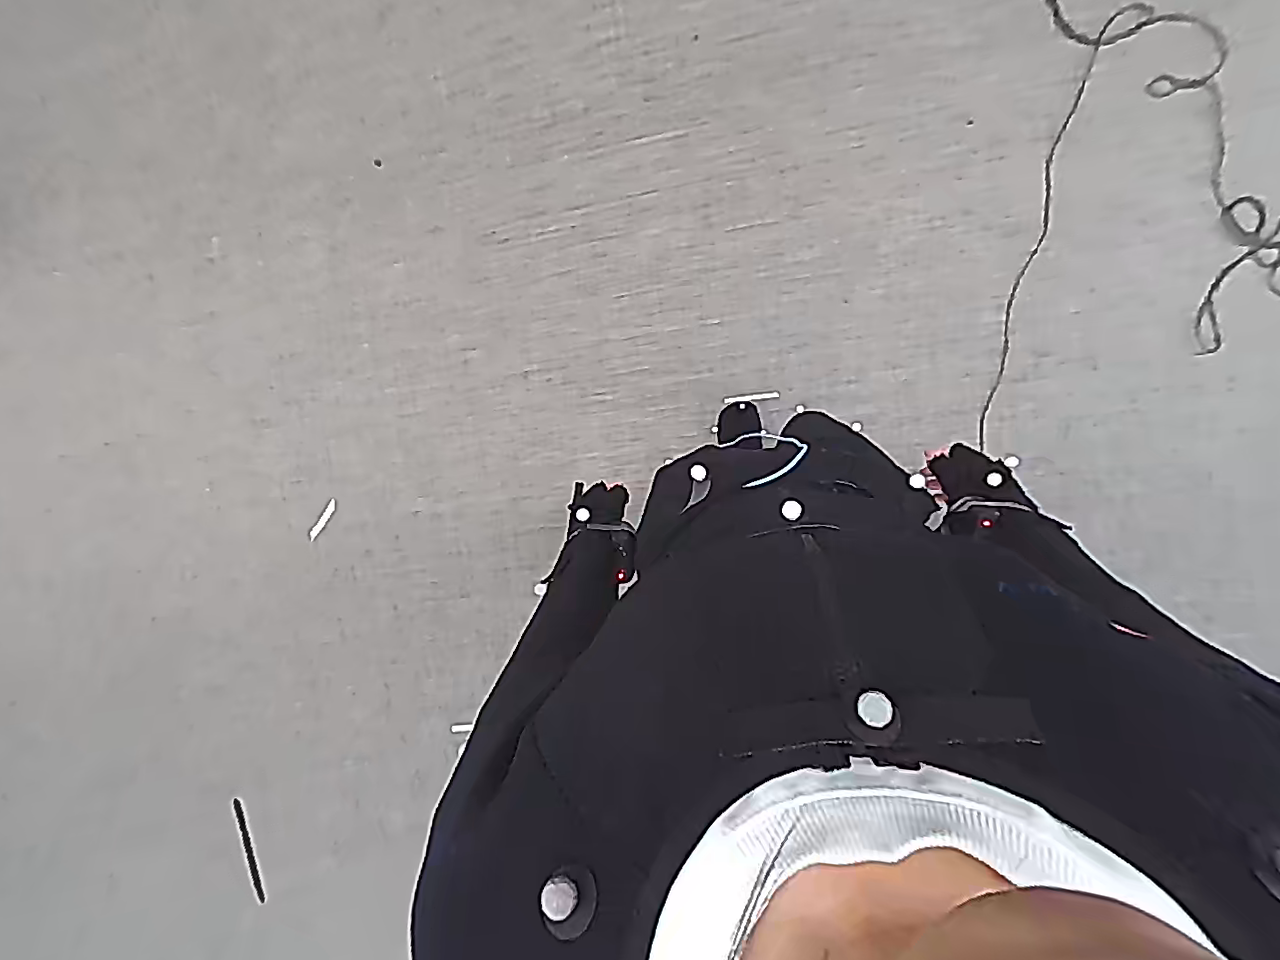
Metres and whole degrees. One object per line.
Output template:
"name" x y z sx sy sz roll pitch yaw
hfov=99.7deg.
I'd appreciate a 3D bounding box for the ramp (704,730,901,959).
"ramp" 0.447 1.196 1.481 0.509 0.206 0.991 -5 96 11
